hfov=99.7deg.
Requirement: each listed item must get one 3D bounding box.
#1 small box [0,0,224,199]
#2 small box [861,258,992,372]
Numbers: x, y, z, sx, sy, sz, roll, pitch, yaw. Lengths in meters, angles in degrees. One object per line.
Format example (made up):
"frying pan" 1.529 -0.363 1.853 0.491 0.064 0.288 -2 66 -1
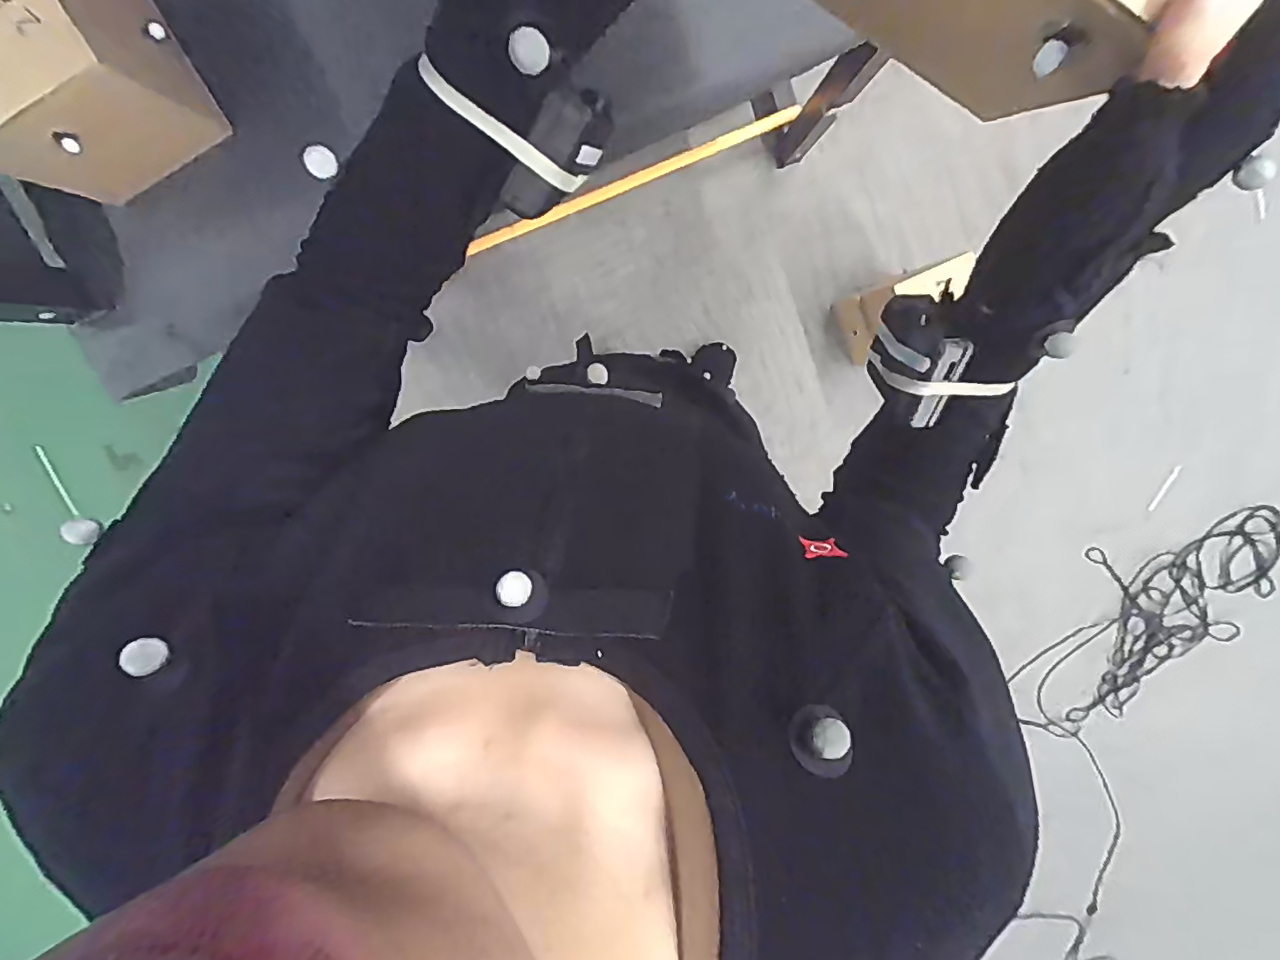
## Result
"small box" -0.590 -0.419 0.548 0.179 0.176 0.168 -26 103 6
"small box" 0.601 -0.345 1.152 0.168 0.176 0.179 -23 102 5
